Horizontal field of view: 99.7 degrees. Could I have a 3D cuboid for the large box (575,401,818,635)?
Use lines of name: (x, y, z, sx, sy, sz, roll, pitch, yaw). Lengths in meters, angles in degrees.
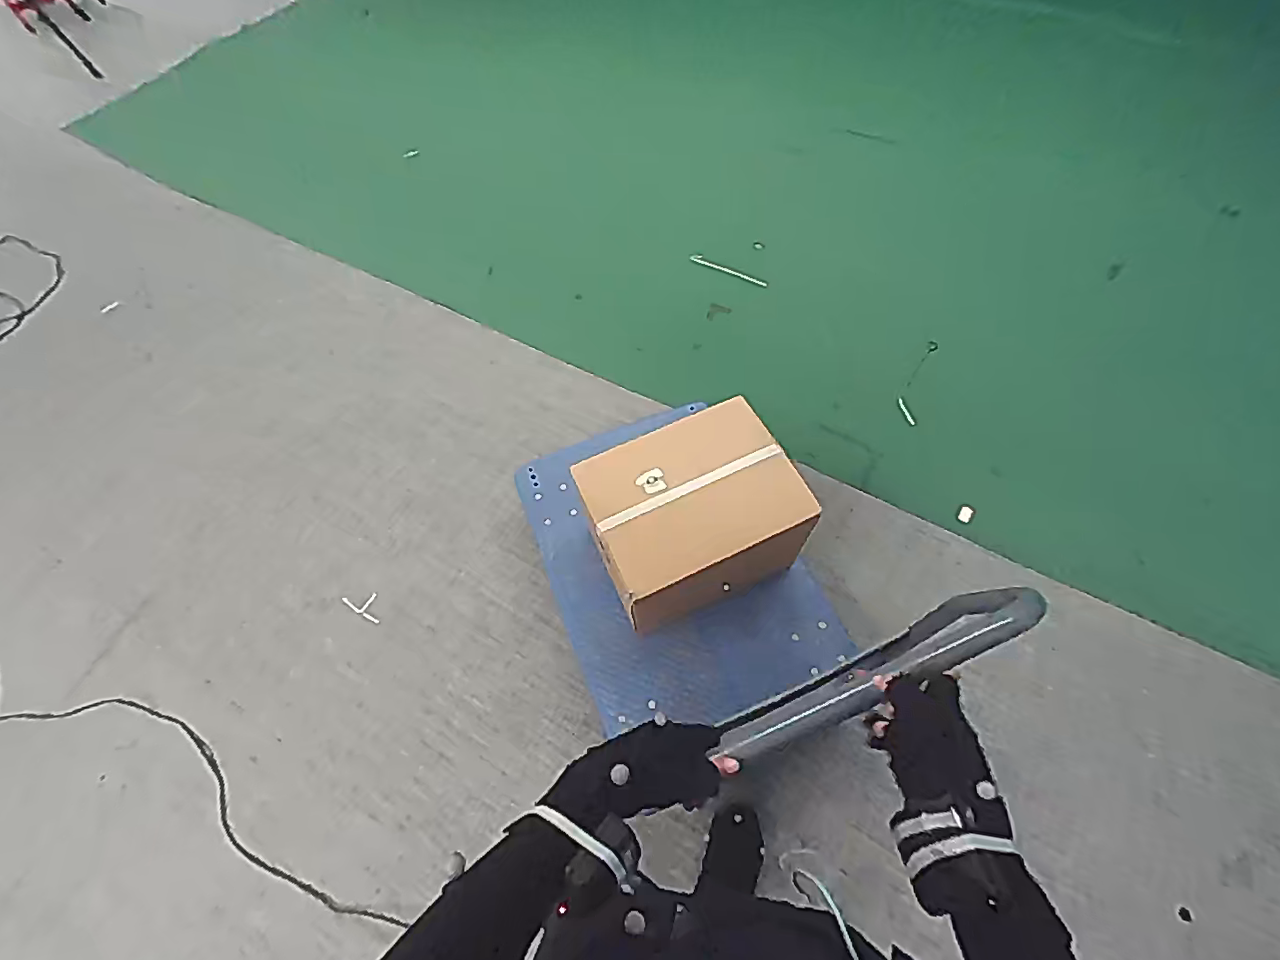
large box: (0.117, 0.095, 1.213, 0.408, 0.320, 0.320, -26, 63, -9)
